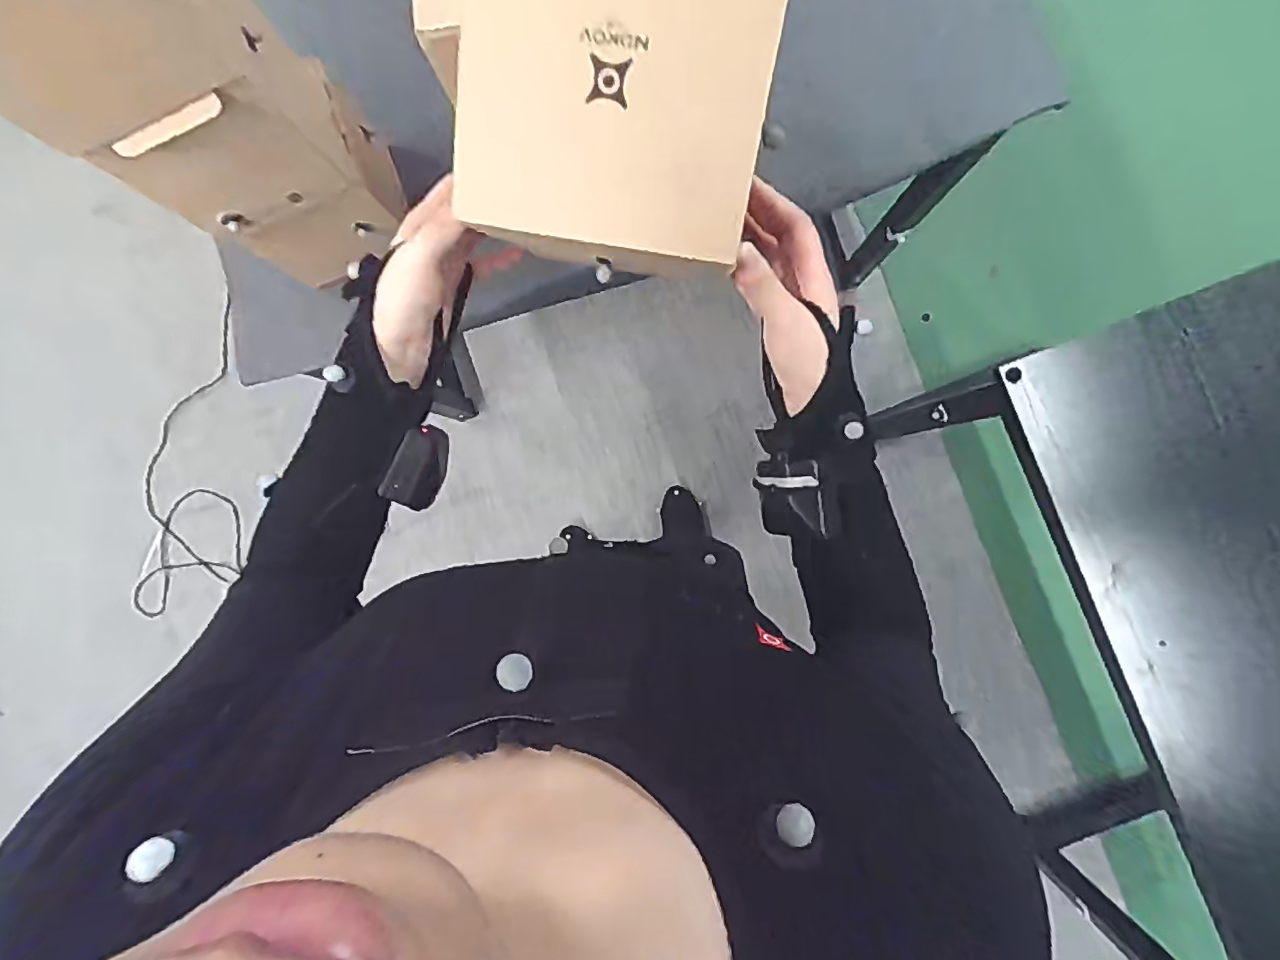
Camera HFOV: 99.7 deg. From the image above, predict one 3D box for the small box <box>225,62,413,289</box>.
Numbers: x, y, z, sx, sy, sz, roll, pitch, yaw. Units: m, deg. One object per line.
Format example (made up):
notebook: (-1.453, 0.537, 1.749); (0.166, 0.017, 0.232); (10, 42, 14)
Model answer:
small box: (-0.427, -0.383, 0.714); (0.179, 0.176, 0.168); (-21, 86, 3)

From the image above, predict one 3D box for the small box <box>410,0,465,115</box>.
small box: (-0.108, -0.457, 0.532); (0.179, 0.176, 0.168); (-6, 88, 4)

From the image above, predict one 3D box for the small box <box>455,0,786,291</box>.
small box: (-0.005, -0.230, 0.360); (0.168, 0.176, 0.179); (10, 106, 4)

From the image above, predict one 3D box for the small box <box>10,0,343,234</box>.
small box: (-0.445, -0.382, 0.550); (0.168, 0.176, 0.179); (-25, 85, 2)
